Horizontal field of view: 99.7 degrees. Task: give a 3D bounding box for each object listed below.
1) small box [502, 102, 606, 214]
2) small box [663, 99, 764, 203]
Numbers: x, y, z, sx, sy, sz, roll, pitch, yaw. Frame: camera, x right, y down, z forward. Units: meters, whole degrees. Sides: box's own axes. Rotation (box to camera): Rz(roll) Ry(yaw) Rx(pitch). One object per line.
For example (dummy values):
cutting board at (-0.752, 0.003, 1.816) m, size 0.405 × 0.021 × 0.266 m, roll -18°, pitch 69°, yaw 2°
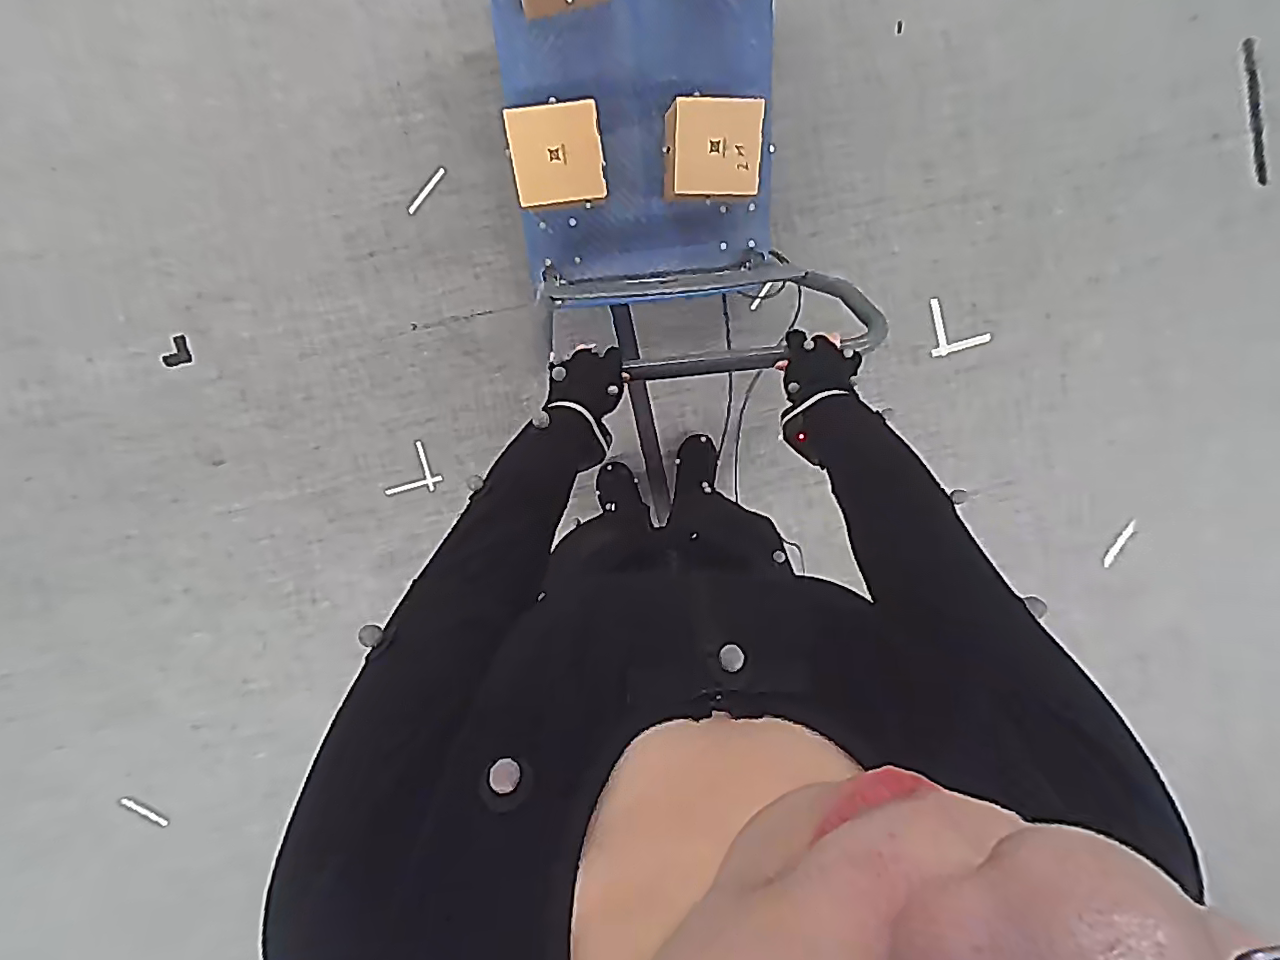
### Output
small box at (-0.171, -0.652, 1.113) m, size 0.179 × 0.176 × 0.168 m, roll -10°, pitch 114°, yaw -4°
small box at (0.144, -0.681, 1.137) m, size 0.179 × 0.176 × 0.168 m, roll -2°, pitch 114°, yaw -5°
